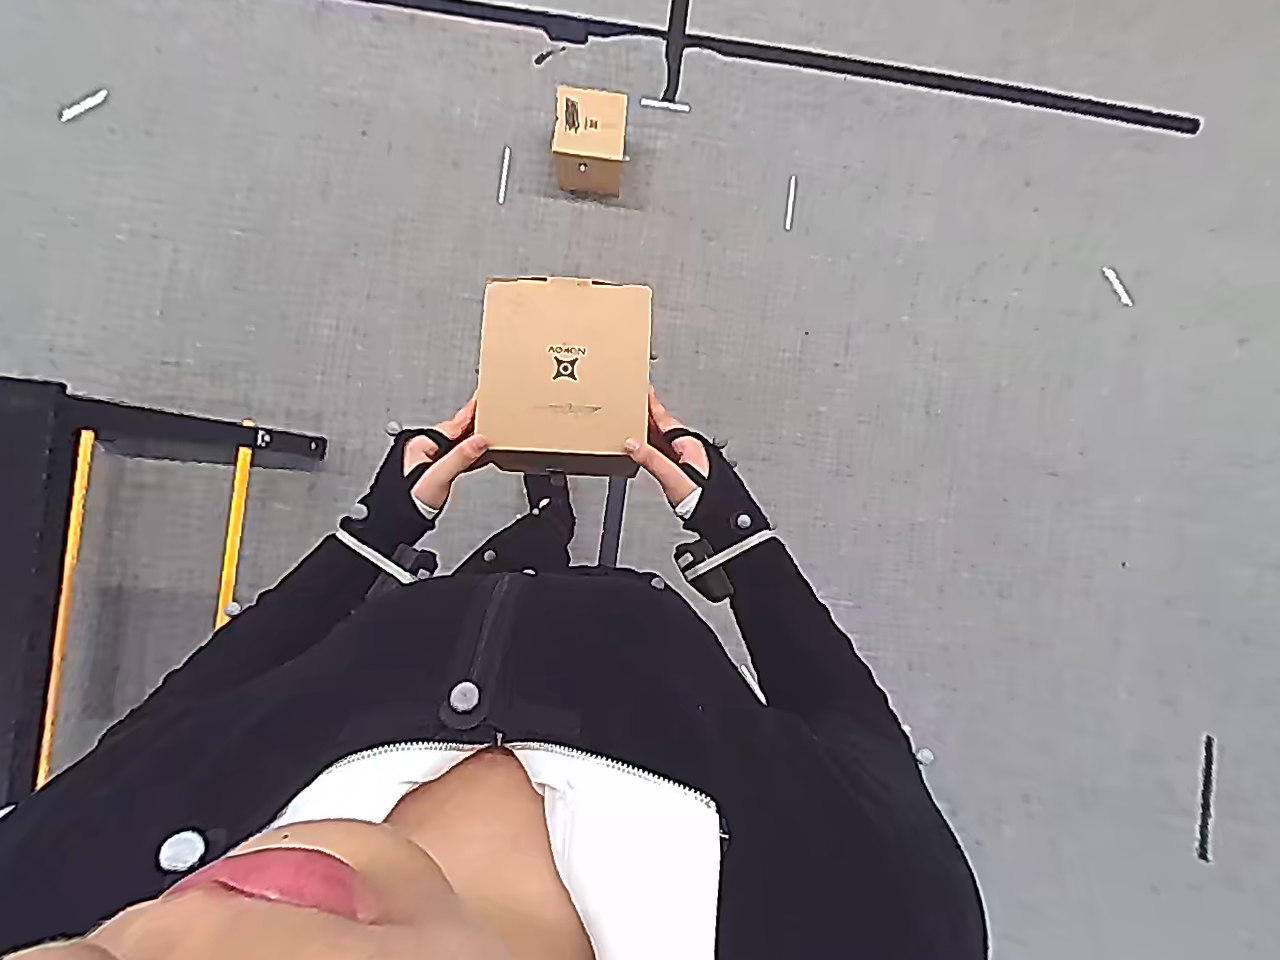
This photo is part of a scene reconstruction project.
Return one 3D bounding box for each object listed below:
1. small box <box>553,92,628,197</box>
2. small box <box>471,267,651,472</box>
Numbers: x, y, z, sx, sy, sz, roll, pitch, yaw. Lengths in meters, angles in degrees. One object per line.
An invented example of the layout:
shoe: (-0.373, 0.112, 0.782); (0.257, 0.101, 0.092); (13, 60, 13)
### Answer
small box: (-0.127, -0.870, 1.417); (0.179, 0.176, 0.168); (5, 89, -4)
small box: (-0.080, -0.110, 0.602); (0.168, 0.176, 0.179); (2, 83, -3)
